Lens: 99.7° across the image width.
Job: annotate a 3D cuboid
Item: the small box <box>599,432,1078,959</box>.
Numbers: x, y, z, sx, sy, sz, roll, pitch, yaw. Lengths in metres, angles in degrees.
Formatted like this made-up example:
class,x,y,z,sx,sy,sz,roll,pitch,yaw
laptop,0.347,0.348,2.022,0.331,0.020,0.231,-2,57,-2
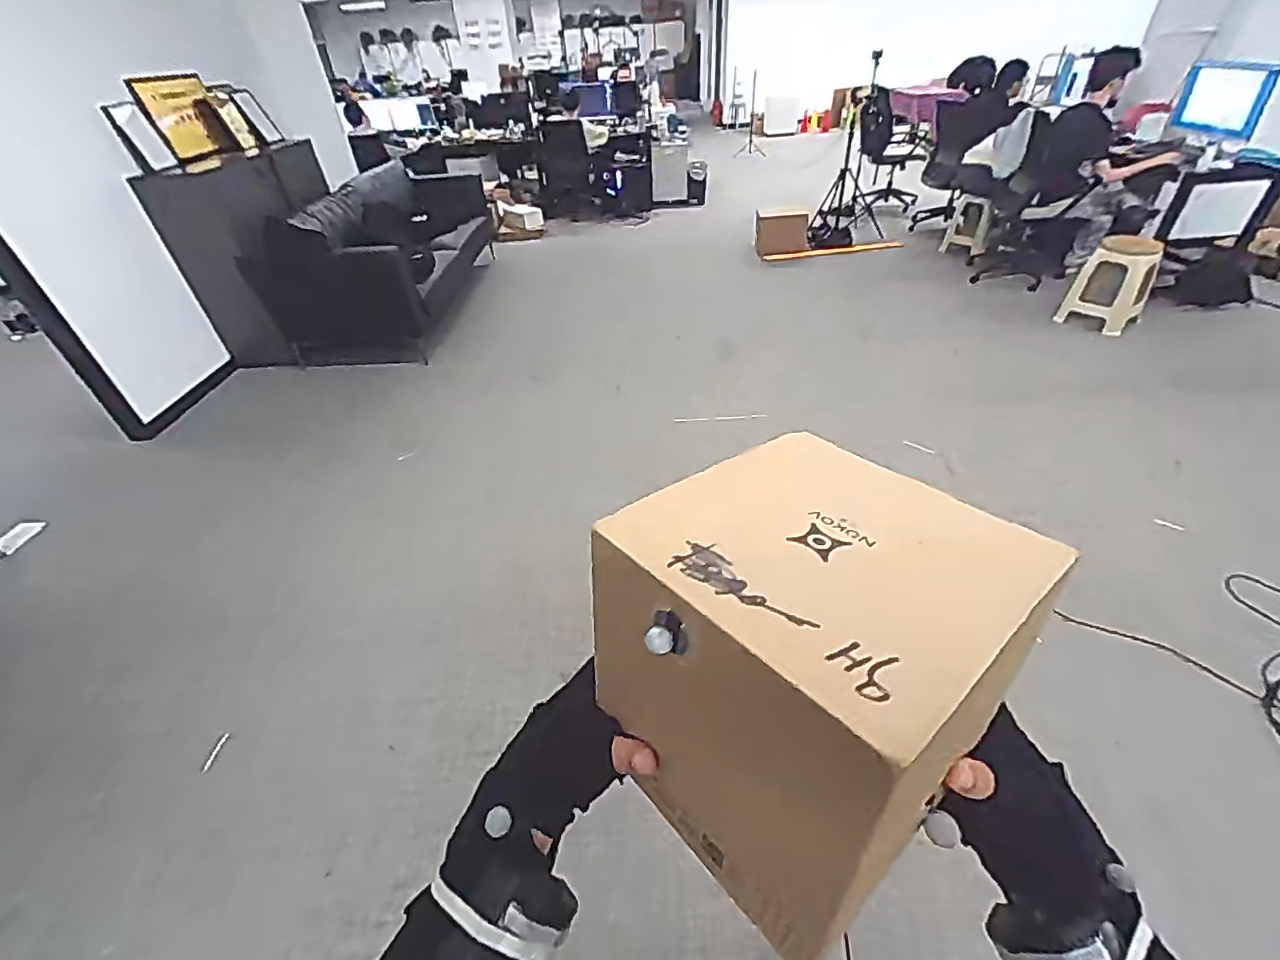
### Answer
class,x,y,z,sx,sy,sz,roll,pitch,yaw
small box,0.090,0.096,0.302,0.179,0.176,0.168,-22,37,-34
